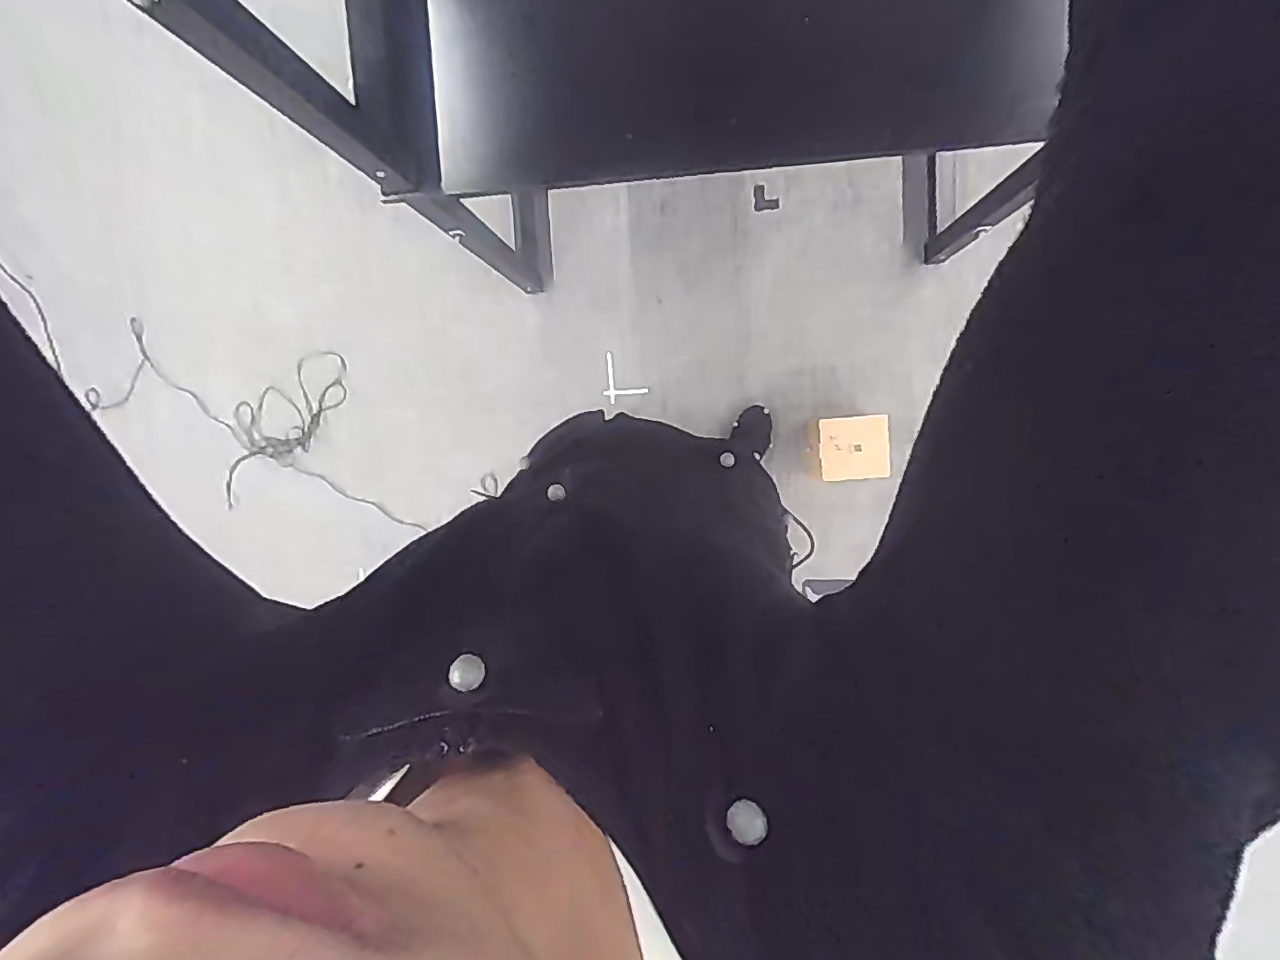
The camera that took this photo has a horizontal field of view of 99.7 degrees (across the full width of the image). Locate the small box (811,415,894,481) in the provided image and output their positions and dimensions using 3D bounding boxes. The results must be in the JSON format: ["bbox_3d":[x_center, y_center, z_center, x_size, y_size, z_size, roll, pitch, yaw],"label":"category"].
[{"bbox_3d":[0.575,-0.092,1.479,0.179,0.176,0.168,-4,95,8],"label":"small box"}]
